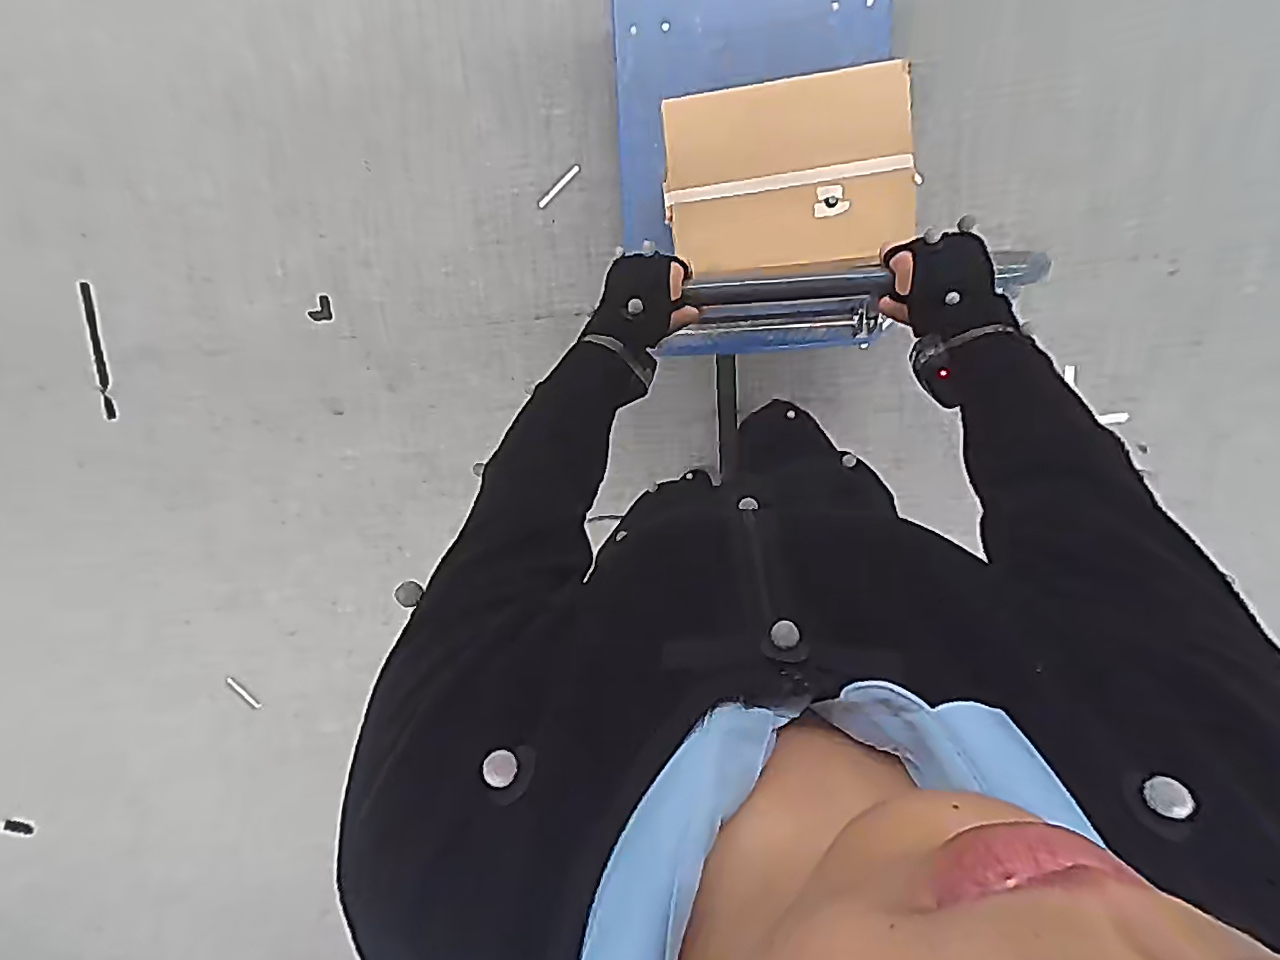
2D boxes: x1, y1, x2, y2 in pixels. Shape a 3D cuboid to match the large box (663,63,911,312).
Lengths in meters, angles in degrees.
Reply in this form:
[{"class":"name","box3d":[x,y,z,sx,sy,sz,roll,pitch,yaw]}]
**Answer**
[{"class":"large box","box3d":[0.265,-0.538,1.077,0.408,0.320,0.320,-6,100,6]}]
